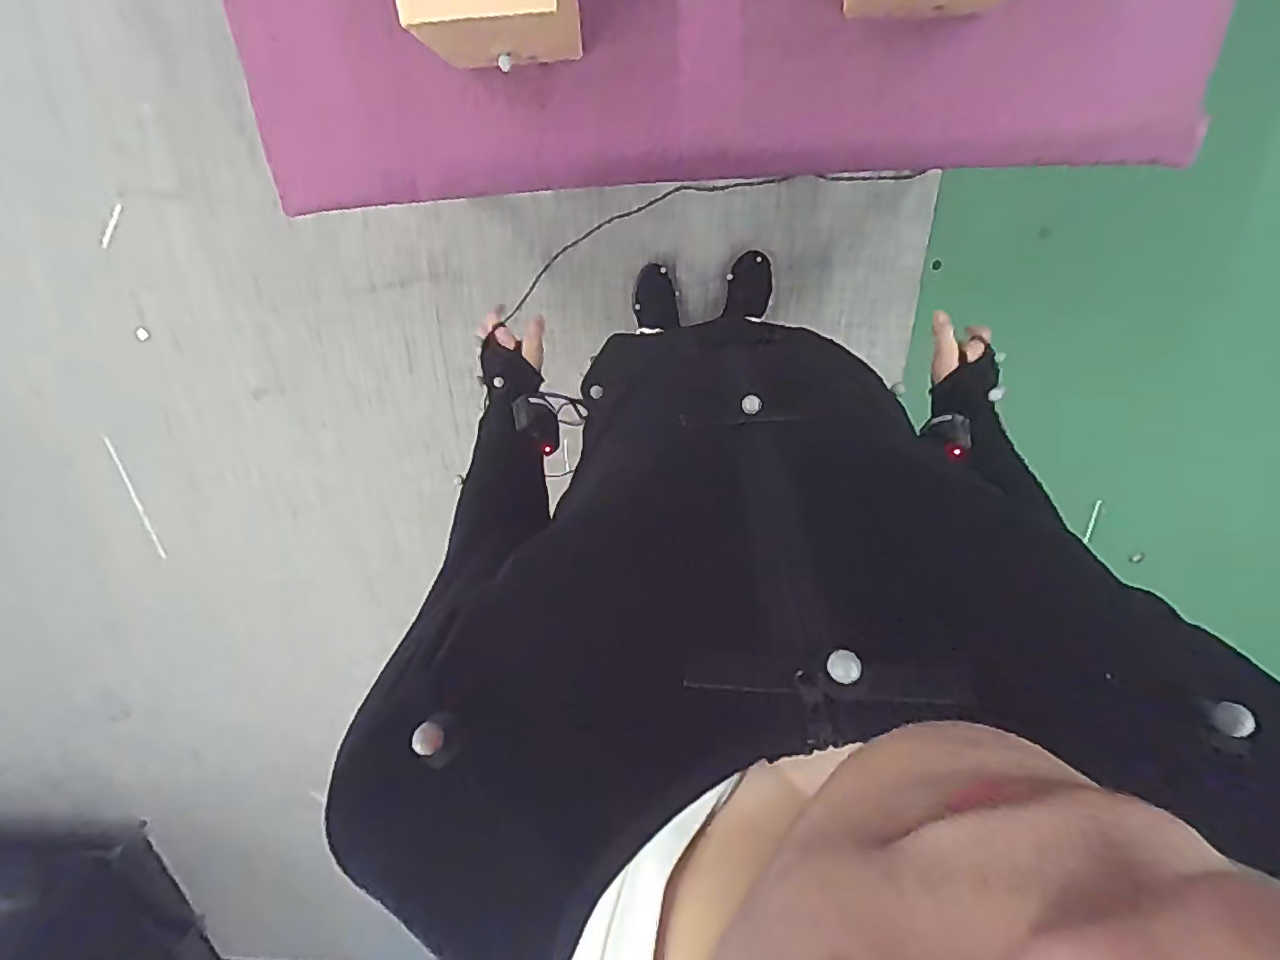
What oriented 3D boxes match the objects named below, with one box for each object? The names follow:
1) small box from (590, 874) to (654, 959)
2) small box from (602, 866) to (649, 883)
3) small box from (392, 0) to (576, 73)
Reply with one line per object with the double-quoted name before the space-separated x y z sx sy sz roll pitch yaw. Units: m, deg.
"small box" -0.052 1.296 1.584 0.168 0.176 0.179 8 115 0
"small box" -0.054 1.458 1.838 0.168 0.176 0.179 2 113 2
"small box" -0.168 -0.575 0.586 0.168 0.176 0.179 -2 115 4
